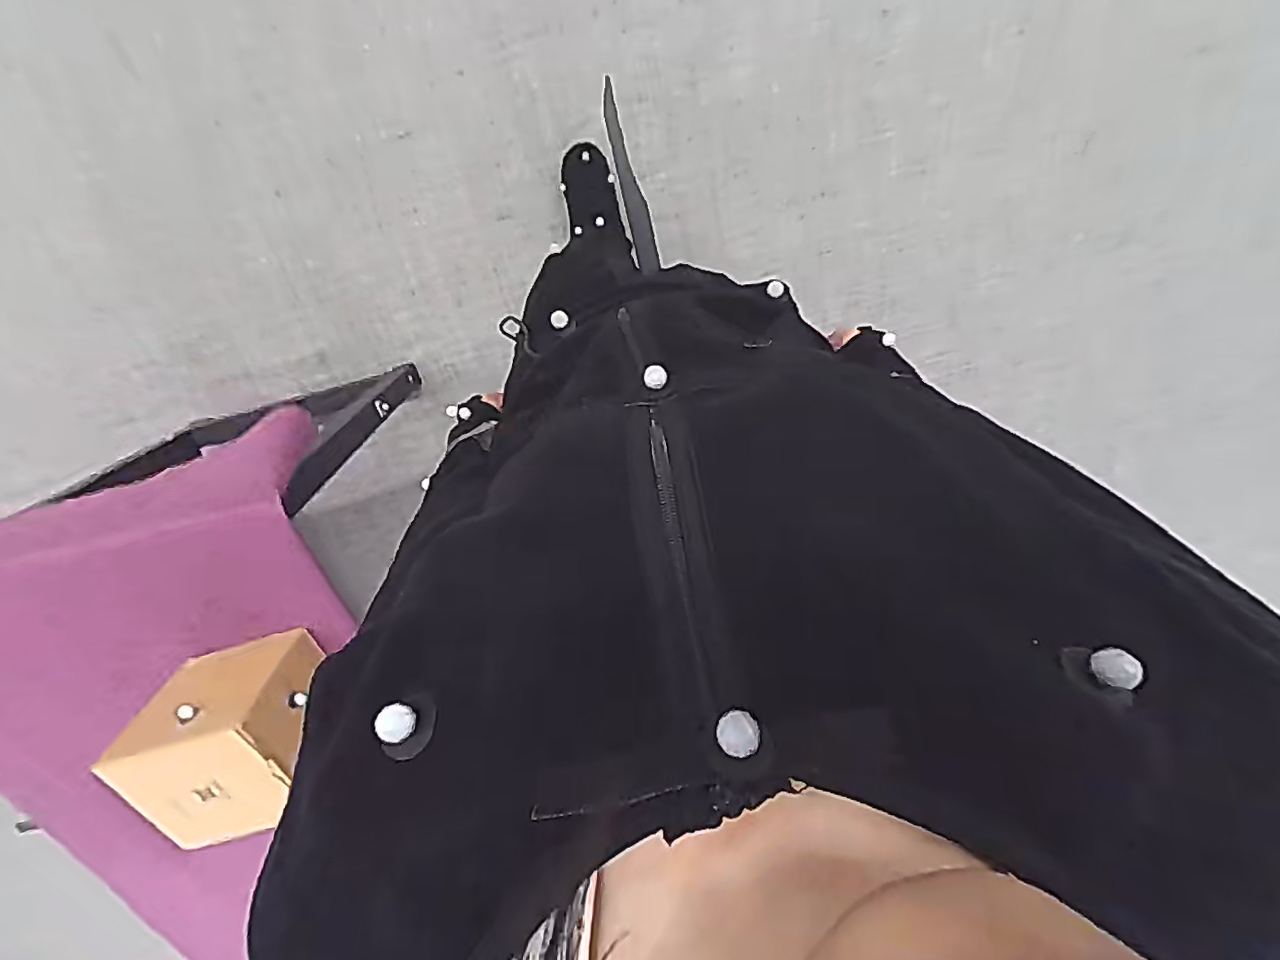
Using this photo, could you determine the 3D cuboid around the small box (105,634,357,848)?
[{"bbox_3d":[-0.500,0.328,0.703,0.179,0.176,0.168,-16,116,3],"label":"small box"}]
